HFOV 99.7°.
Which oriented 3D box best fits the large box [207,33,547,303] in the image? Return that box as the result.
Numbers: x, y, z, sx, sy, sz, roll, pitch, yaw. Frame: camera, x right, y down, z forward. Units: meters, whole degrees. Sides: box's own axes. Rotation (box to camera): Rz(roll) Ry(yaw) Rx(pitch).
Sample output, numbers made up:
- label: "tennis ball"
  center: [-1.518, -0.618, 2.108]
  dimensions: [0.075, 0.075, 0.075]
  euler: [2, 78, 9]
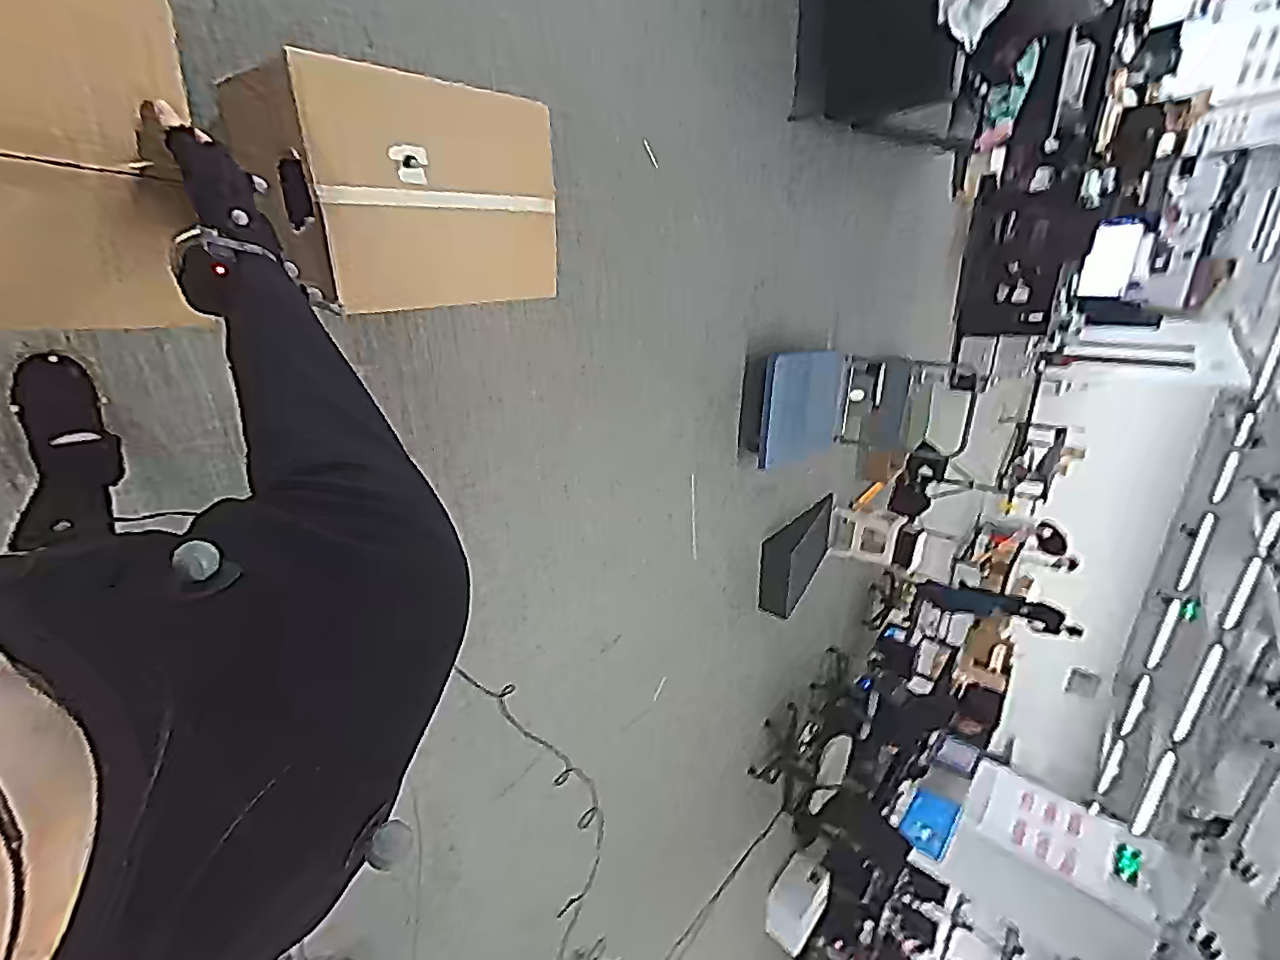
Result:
- label: "large box"
  center: [-0.412, -0.494, 0.914]
  dimensions: [0.408, 0.320, 0.320]
  euler: [-24, 125, -42]
